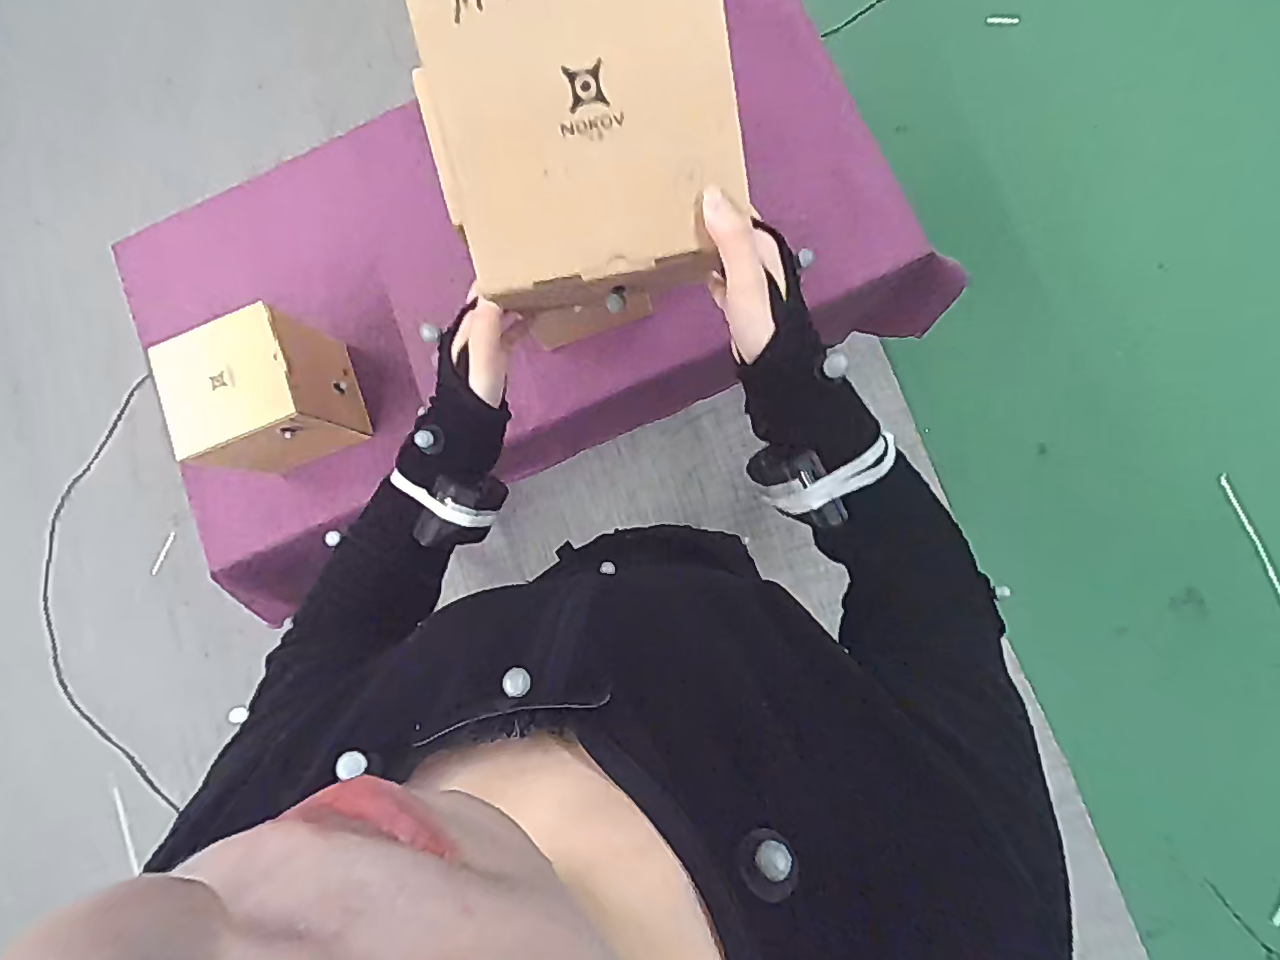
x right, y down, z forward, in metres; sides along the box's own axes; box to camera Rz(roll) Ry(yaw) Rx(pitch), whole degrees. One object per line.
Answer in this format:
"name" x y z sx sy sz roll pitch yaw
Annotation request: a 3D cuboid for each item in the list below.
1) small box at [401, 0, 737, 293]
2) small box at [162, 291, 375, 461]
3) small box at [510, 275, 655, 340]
"small box" -0.040 -0.232 0.374 0.168 0.176 0.179 -11 105 -1
"small box" -0.530 -0.138 0.791 0.179 0.176 0.168 -21 82 3
"small box" -0.088 -0.318 0.758 0.179 0.176 0.168 -17 83 4
